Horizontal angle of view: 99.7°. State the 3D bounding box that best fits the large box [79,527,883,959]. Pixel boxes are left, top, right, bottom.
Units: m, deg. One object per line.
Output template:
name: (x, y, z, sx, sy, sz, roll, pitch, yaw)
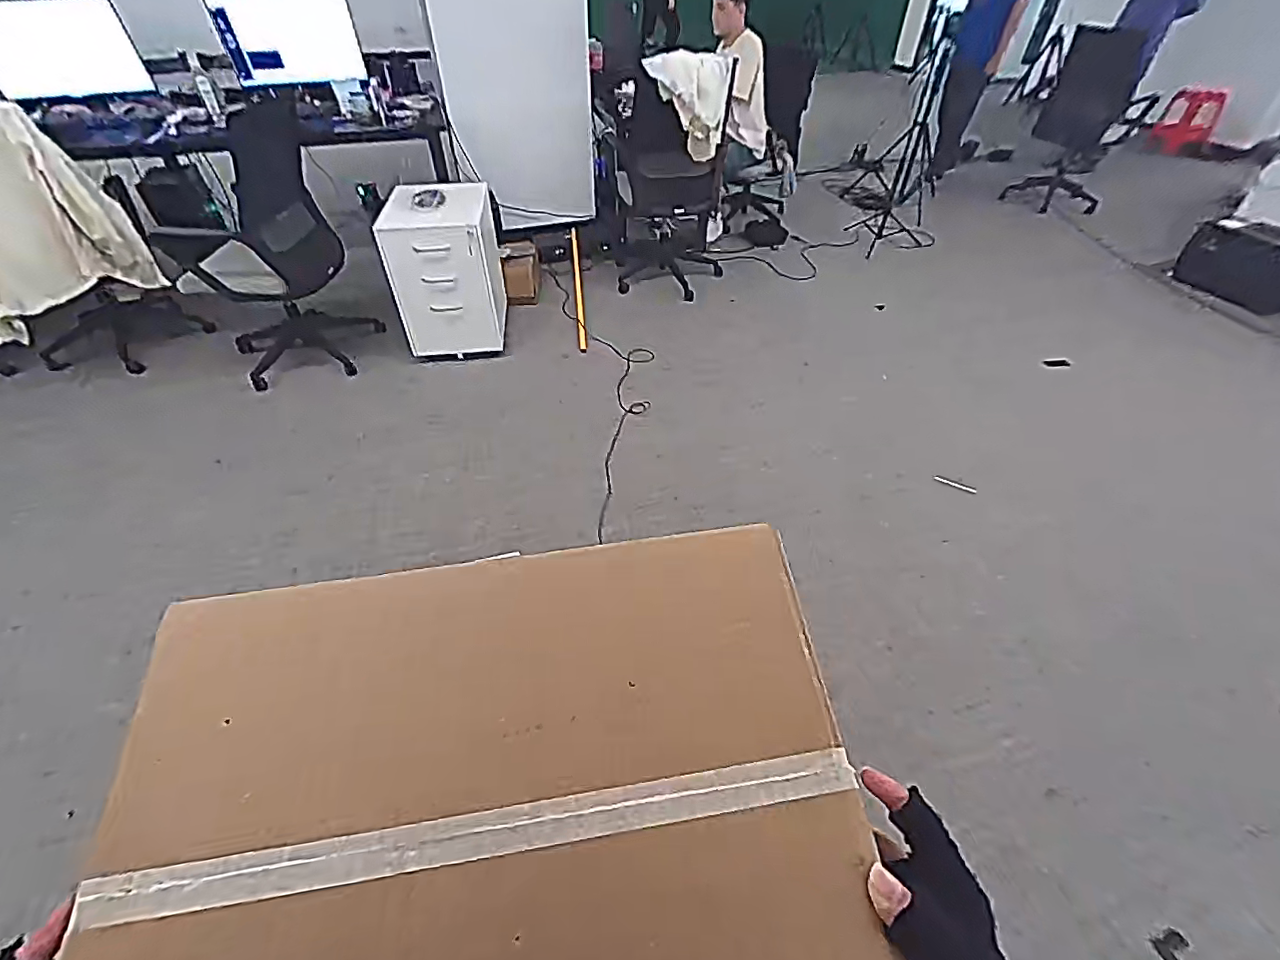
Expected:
large box: (-0.087, 0.265, 0.431, 0.408, 0.320, 0.320, -7, 59, -5)
